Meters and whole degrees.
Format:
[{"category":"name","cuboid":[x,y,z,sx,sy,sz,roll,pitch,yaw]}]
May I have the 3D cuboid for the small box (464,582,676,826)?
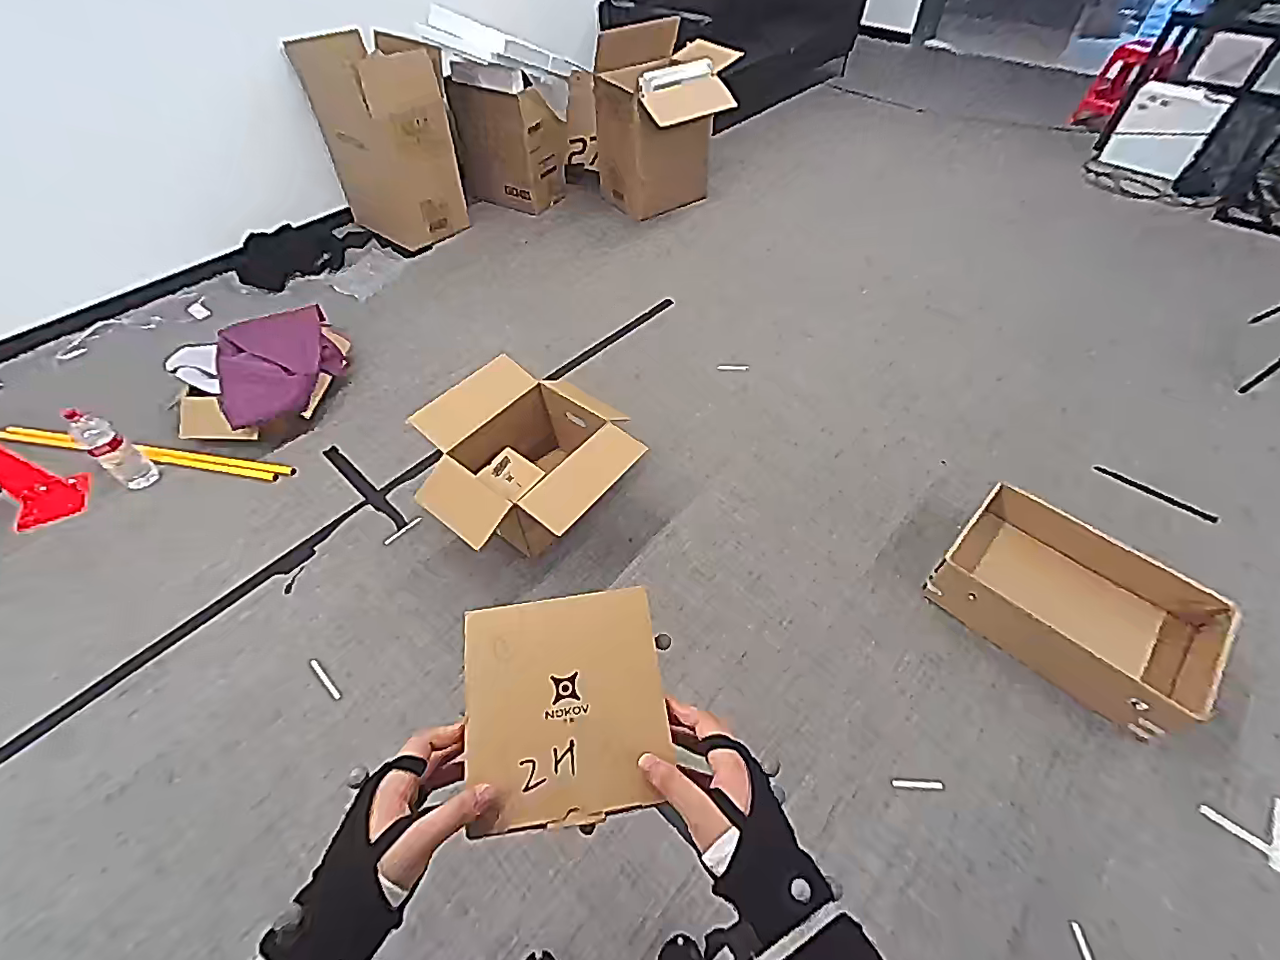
[{"category":"small box","cuboid":[-0.065,0.216,0.523,0.168,0.176,0.179,-7,62,-5]}]
